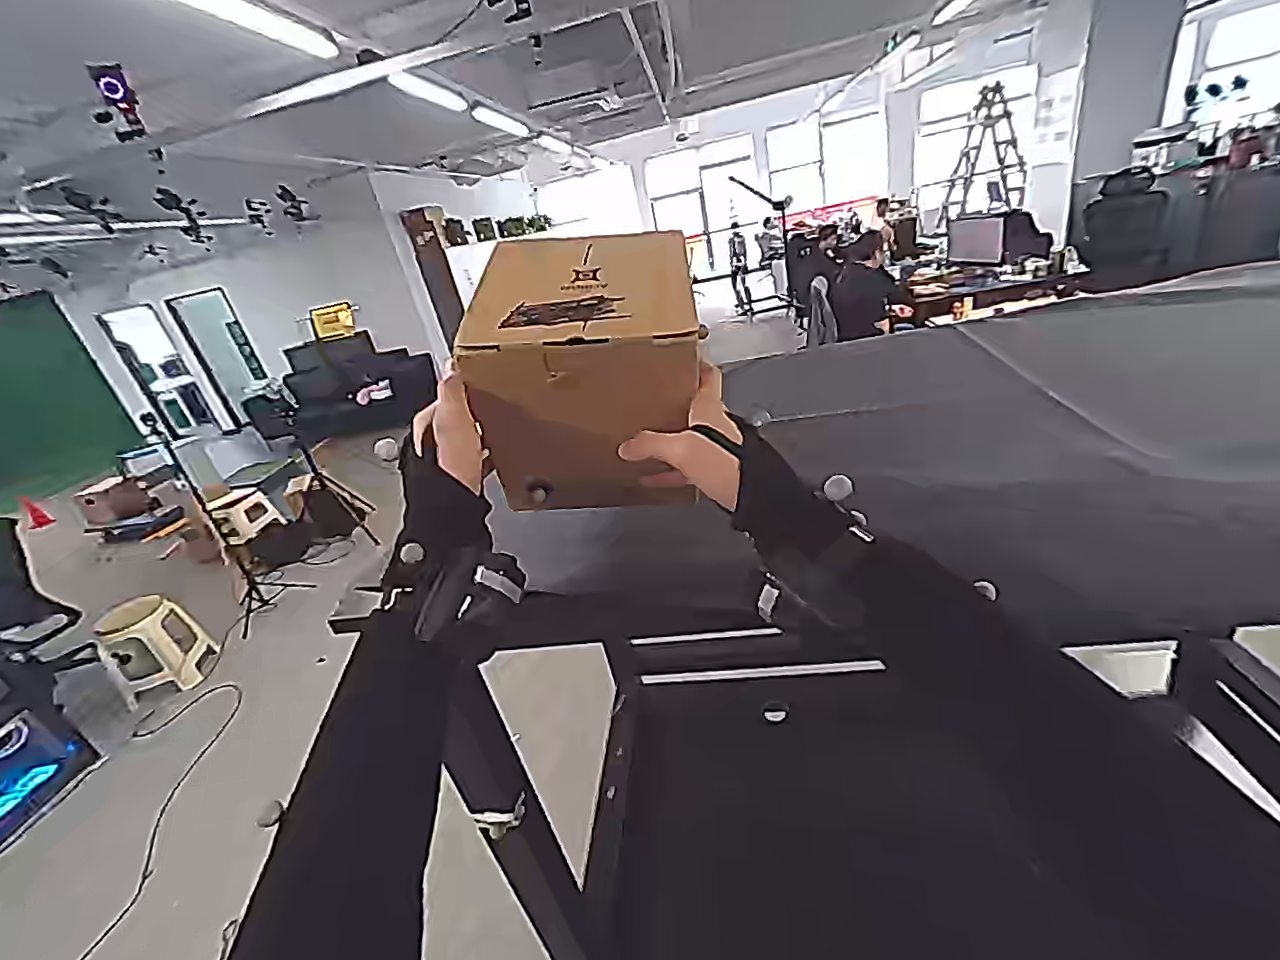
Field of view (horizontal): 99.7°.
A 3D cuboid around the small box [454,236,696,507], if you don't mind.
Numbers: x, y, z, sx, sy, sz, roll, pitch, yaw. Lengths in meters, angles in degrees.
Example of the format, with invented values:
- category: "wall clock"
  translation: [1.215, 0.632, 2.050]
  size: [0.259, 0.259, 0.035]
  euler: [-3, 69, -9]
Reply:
- category: "small box"
  translation: [-0.038, -0.088, 0.470]
  size: [0.168, 0.176, 0.179]
  euler: [-2, 46, 2]
